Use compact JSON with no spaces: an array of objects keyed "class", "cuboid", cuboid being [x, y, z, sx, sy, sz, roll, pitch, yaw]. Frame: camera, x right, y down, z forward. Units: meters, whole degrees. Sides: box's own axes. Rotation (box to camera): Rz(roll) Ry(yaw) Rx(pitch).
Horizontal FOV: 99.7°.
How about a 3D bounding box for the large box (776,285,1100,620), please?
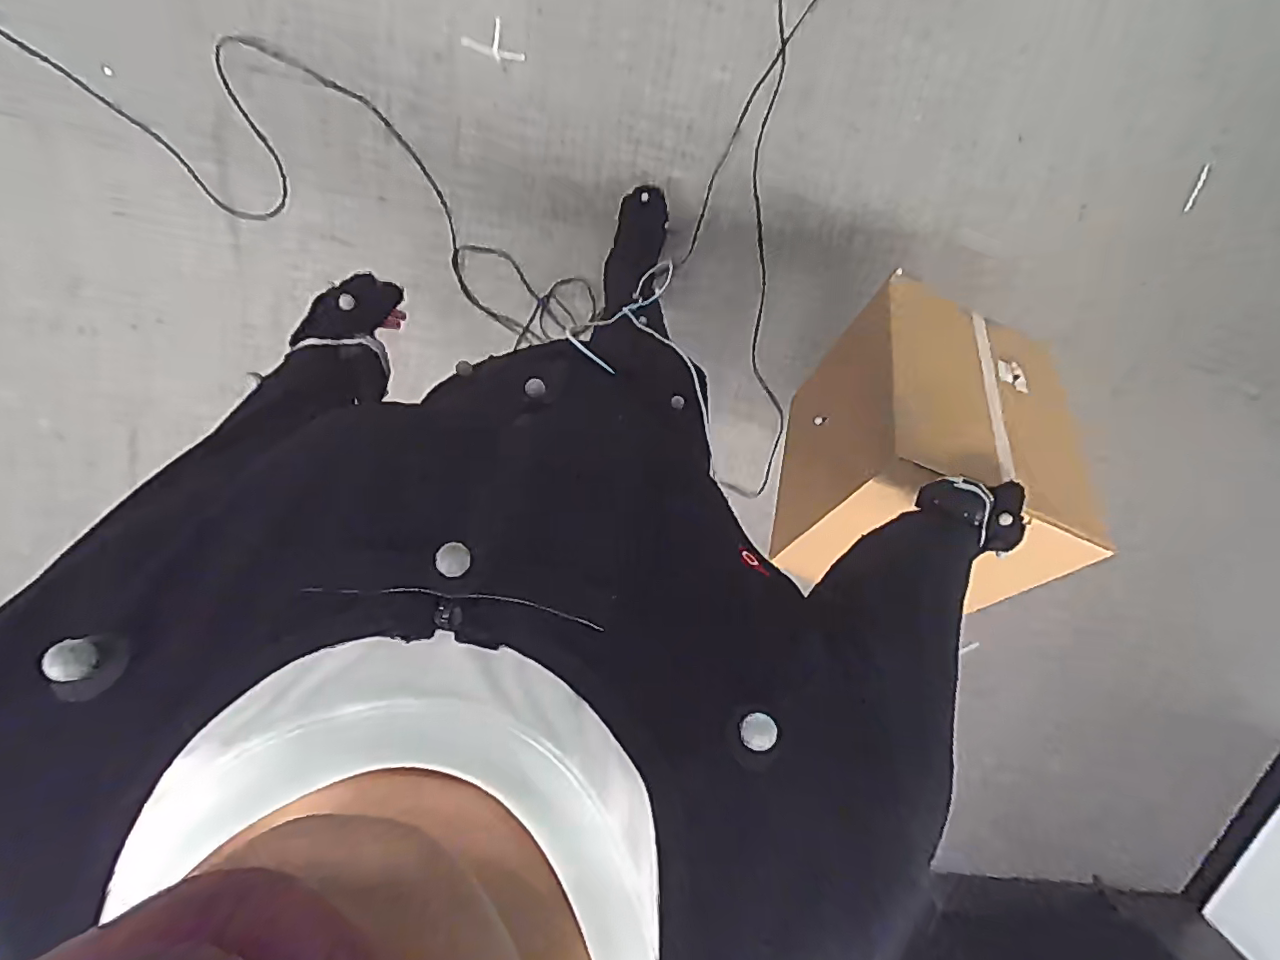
[{"class":"large box","cuboid":[0.449,-0.038,0.908,0.320,0.408,0.320,23,143,-6]}]
